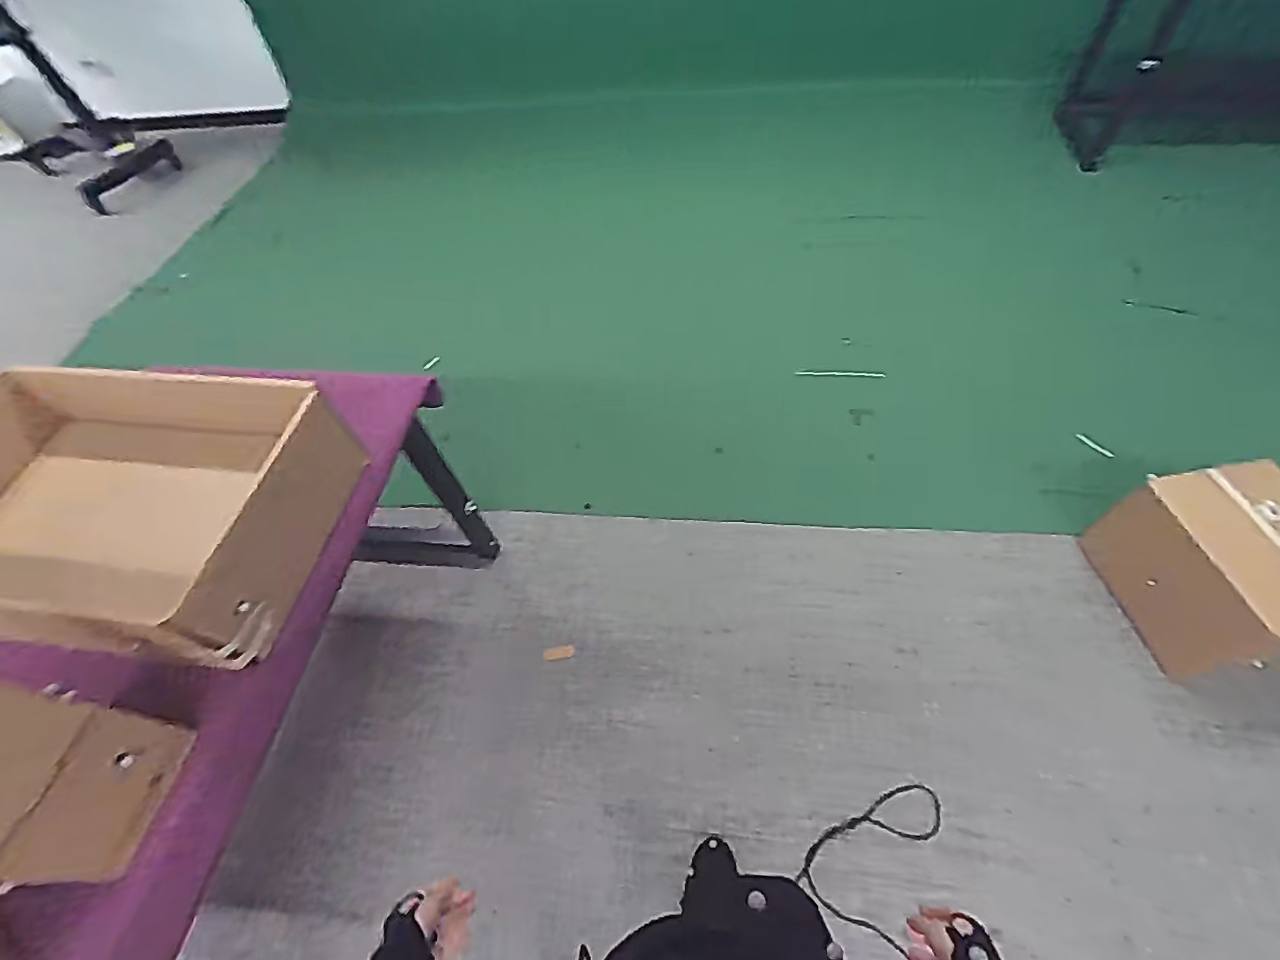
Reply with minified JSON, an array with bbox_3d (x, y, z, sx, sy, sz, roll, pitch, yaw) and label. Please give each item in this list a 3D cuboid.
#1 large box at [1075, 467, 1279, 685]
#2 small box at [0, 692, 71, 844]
[{"bbox_3d":[1.409,0.236,1.323,0.320,0.320,0.408,-9,53,-1],"label":"large box"},{"bbox_3d":[-0.708,0.278,0.500,0.168,0.176,0.179,3,55,9],"label":"small box"}]
